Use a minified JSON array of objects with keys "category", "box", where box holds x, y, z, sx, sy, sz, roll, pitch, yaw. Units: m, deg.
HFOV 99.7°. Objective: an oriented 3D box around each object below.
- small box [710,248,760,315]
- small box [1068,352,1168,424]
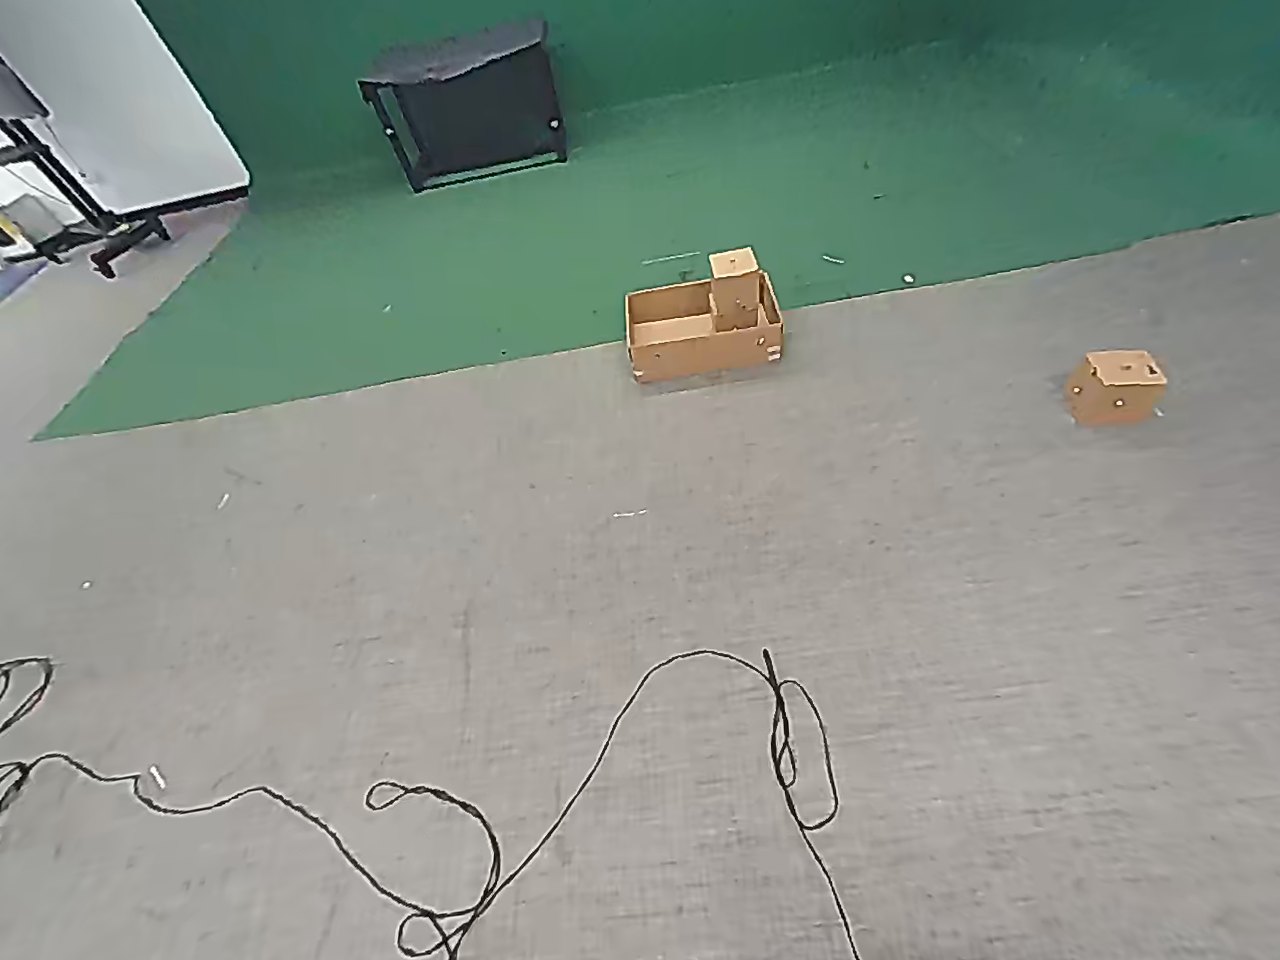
[{"category":"small box","box":[0.369,-0.771,2.104,0.168,0.176,0.179,-9,51,6]},{"category":"small box","box":[1.526,-0.293,1.747,0.179,0.176,0.168,0,51,13]}]
